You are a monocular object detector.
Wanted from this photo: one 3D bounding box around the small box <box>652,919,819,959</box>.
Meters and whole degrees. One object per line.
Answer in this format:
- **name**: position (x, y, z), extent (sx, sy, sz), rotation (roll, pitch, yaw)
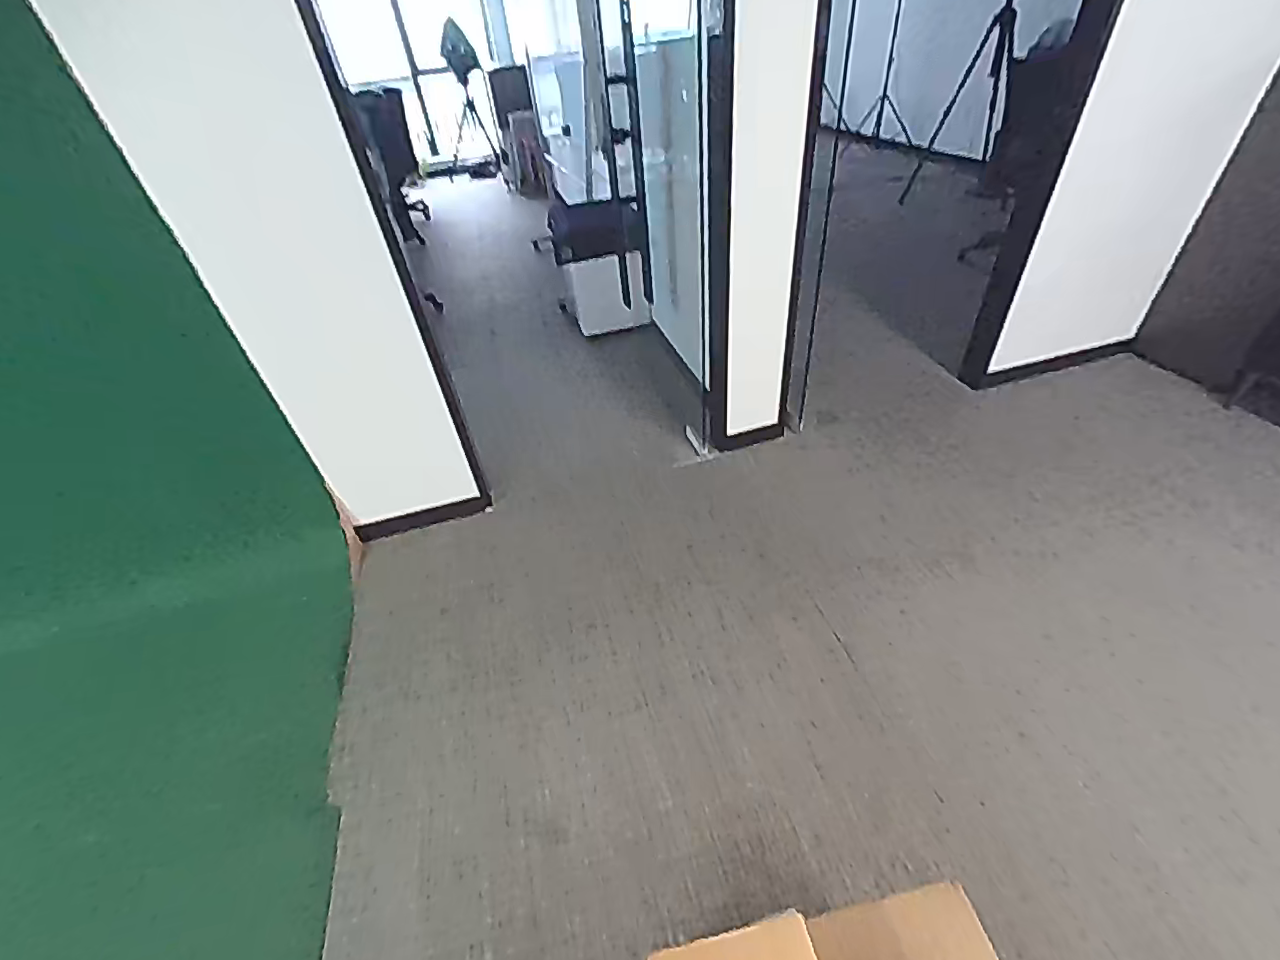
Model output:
- **small box**: position (0.115, 0.598, 0.565), extent (0.179, 0.176, 0.168), rotation (-12, 39, -5)
